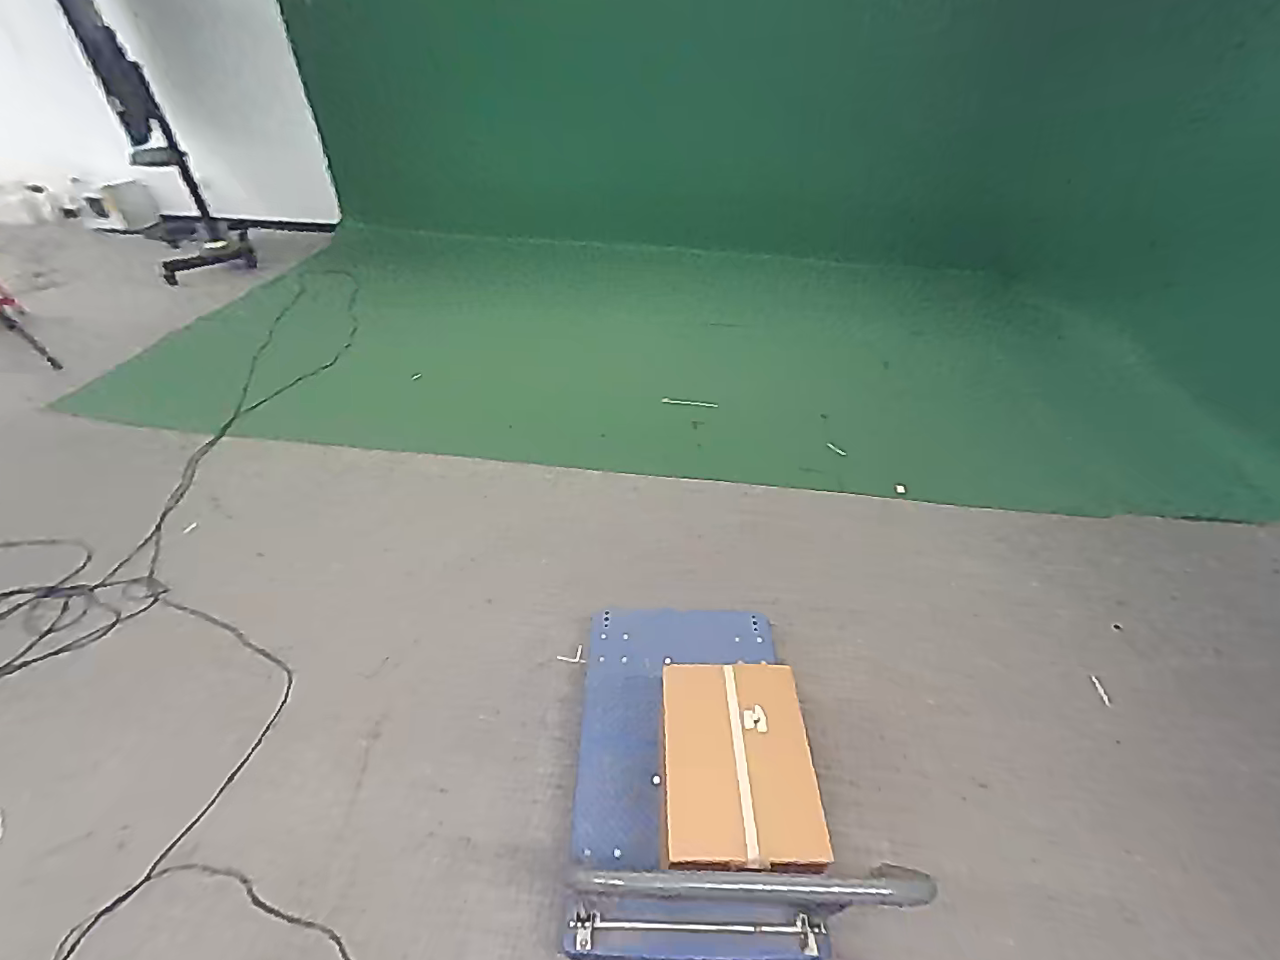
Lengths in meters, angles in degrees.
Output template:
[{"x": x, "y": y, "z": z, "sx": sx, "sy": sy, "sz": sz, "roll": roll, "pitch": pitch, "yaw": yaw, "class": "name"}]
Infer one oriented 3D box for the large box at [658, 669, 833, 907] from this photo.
[{"x": 0.205, "y": 0.700, "z": 1.246, "sx": 0.320, "sy": 0.320, "sz": 0.408, "roll": 2, "pitch": 40, "yaw": -1, "class": "large box"}]
